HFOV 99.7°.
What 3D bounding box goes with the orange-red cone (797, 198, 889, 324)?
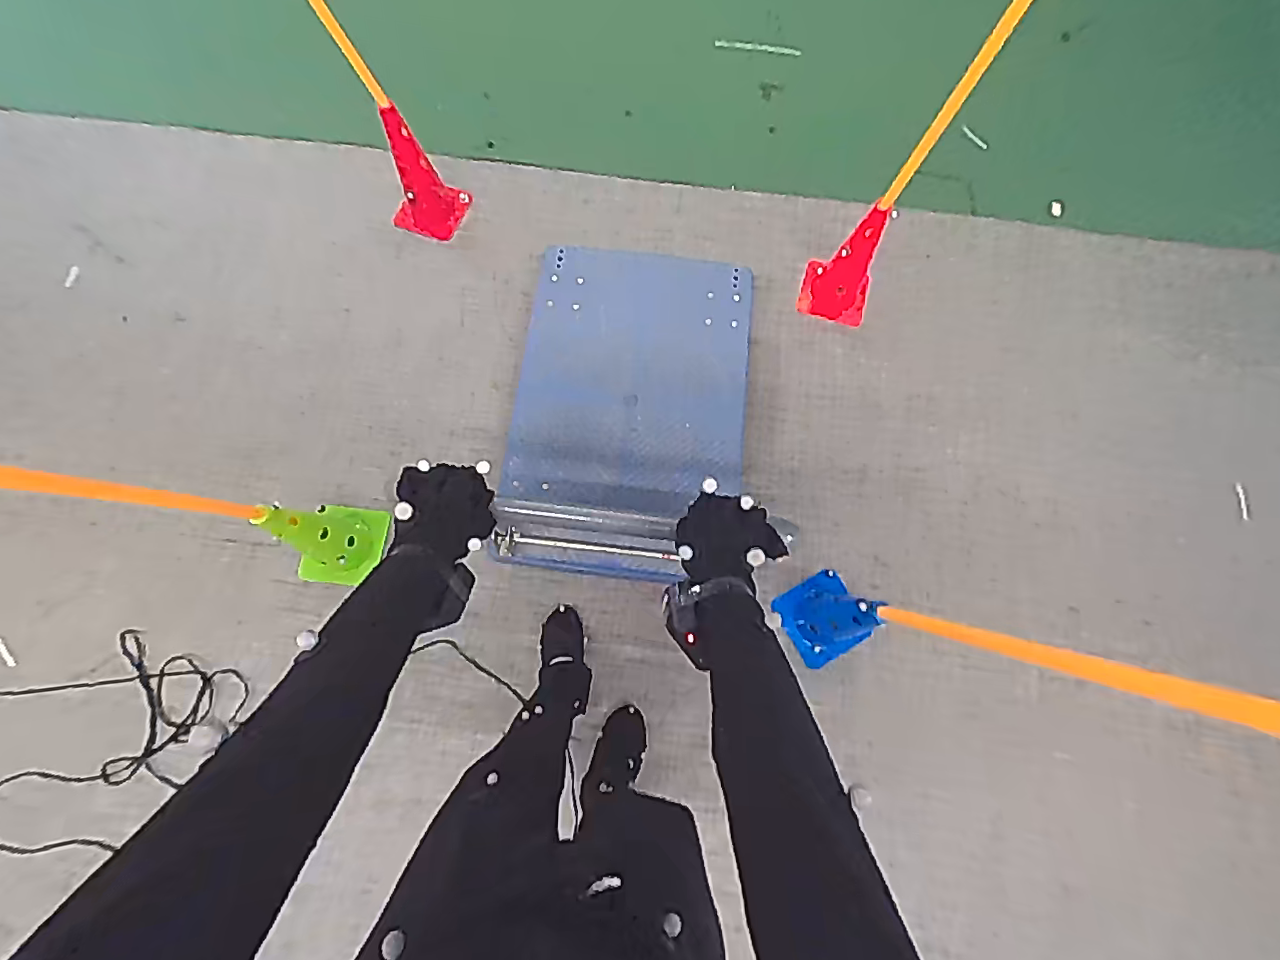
[{"bbox_3d":[0.597,-0.629,1.501,0.198,0.360,0.199,18,74,5],"label":"orange-red cone"}]
